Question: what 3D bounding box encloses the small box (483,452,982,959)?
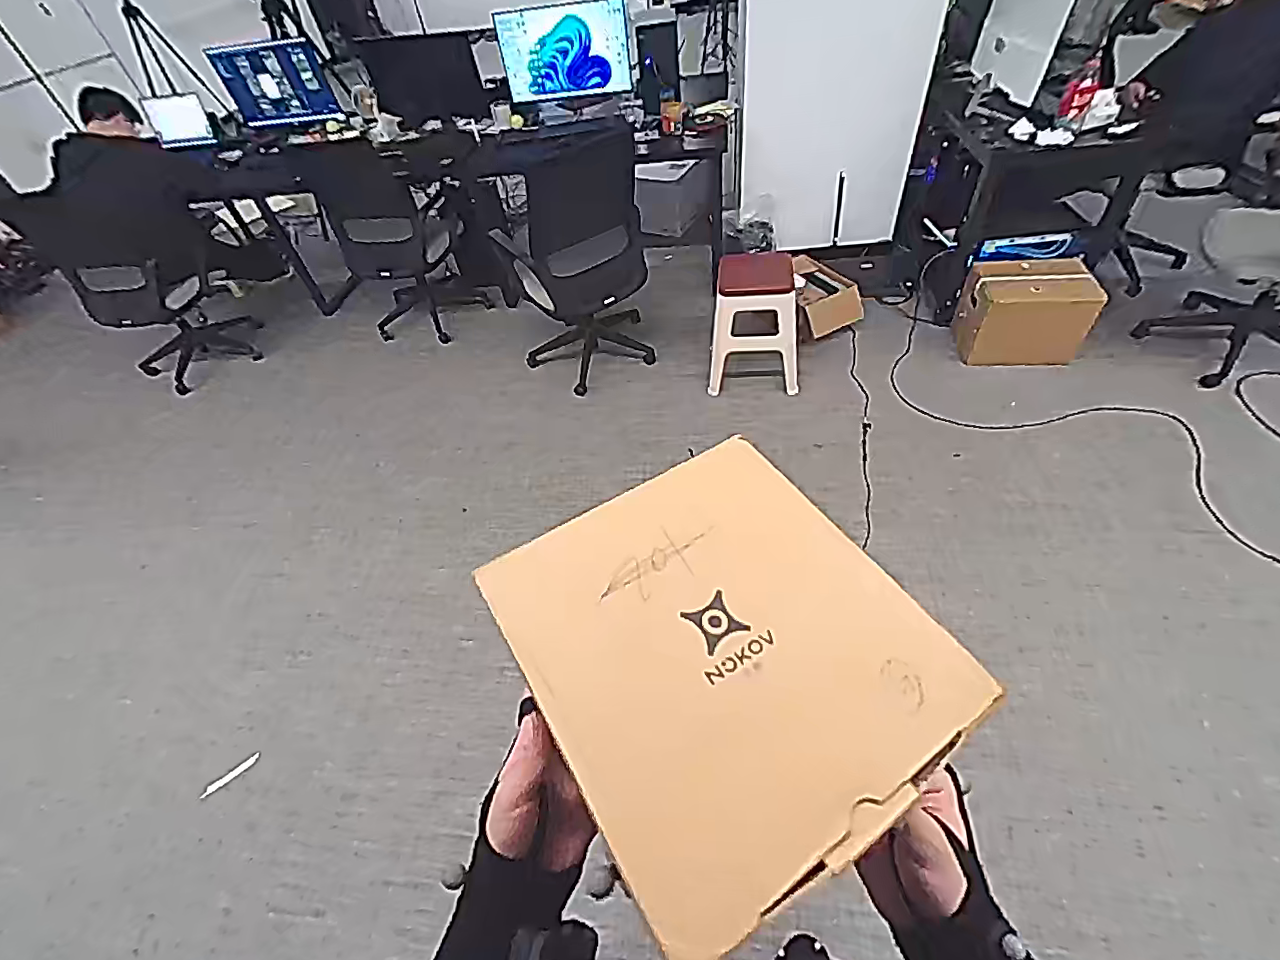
[{"bbox_3d":[0.037,0.123,0.313,0.168,0.176,0.179,-28,55,-21],"label":"small box"}]
